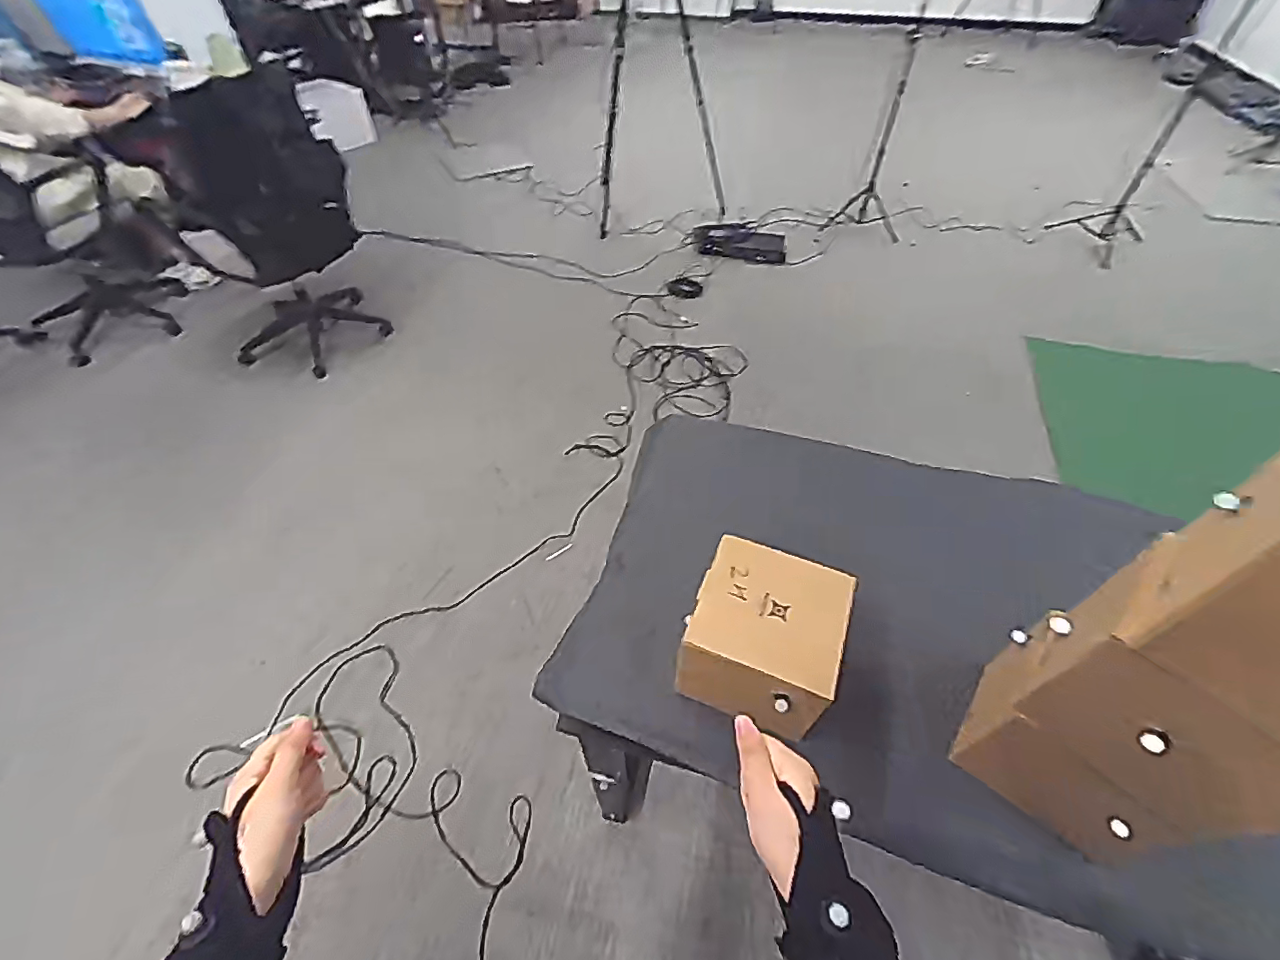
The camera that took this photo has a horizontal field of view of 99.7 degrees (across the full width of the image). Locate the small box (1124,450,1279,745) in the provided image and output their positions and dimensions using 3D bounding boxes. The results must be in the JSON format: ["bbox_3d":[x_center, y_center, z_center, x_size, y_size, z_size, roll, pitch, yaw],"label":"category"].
[{"bbox_3d":[0.507,0.087,0.381,0.168,0.176,0.179,-34,57,-27],"label":"small box"}]

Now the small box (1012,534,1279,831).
[{"bbox_3d":[0.505,0.192,0.505,0.168,0.176,0.179,-34,56,-26],"label":"small box"}]

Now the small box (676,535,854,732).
[{"bbox_3d":[0.157,0.206,0.710,0.179,0.176,0.168,18,52,15],"label":"small box"}]
